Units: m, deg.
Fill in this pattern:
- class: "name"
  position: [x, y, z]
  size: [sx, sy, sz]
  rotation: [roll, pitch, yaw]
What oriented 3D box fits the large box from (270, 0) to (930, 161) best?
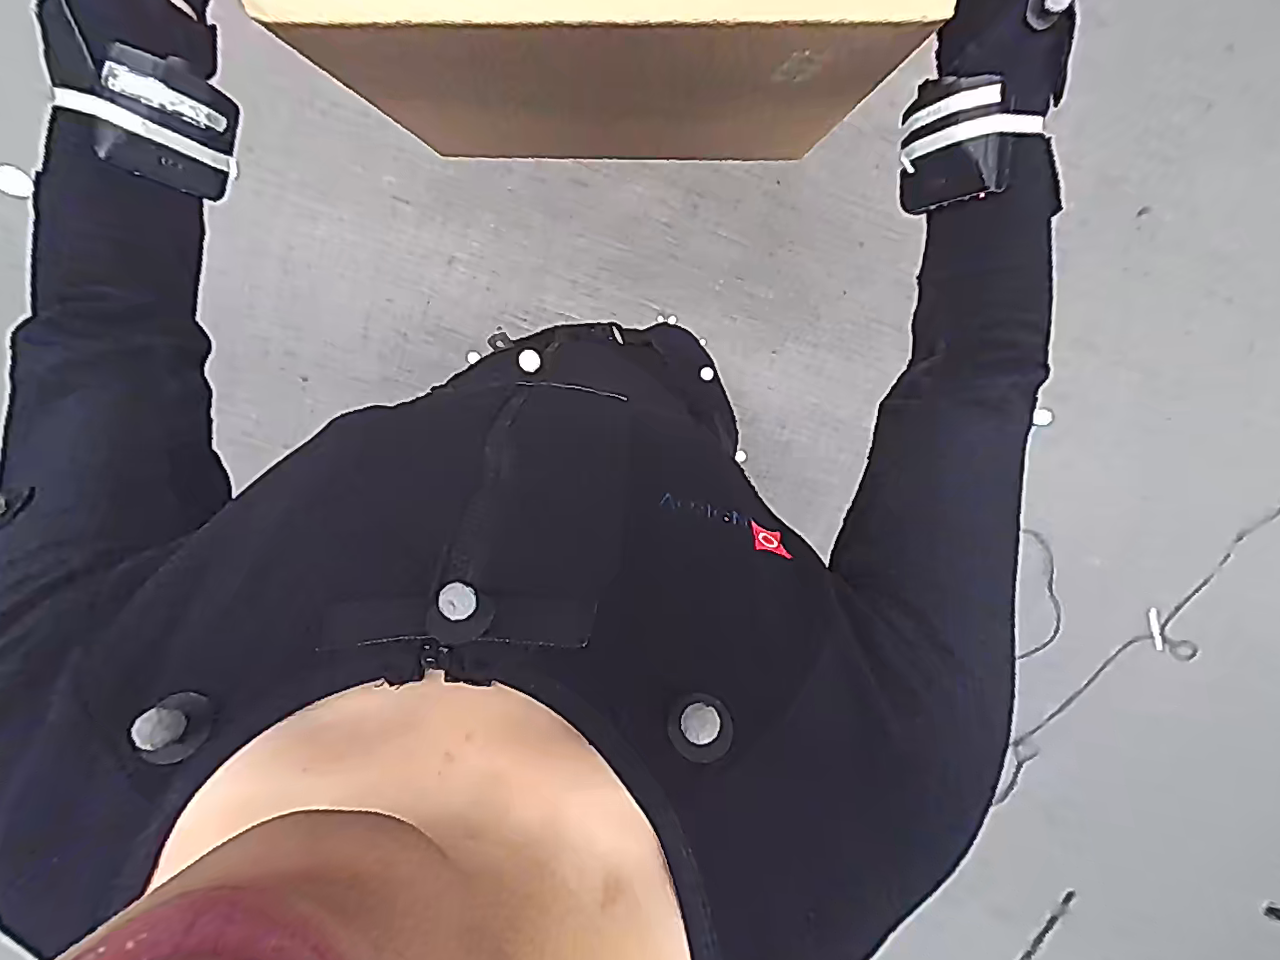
- class: "large box"
  position: [-0.027, -0.465, 0.419]
  size: [0.408, 0.320, 0.320]
  rotation: [-1, 108, 0]
